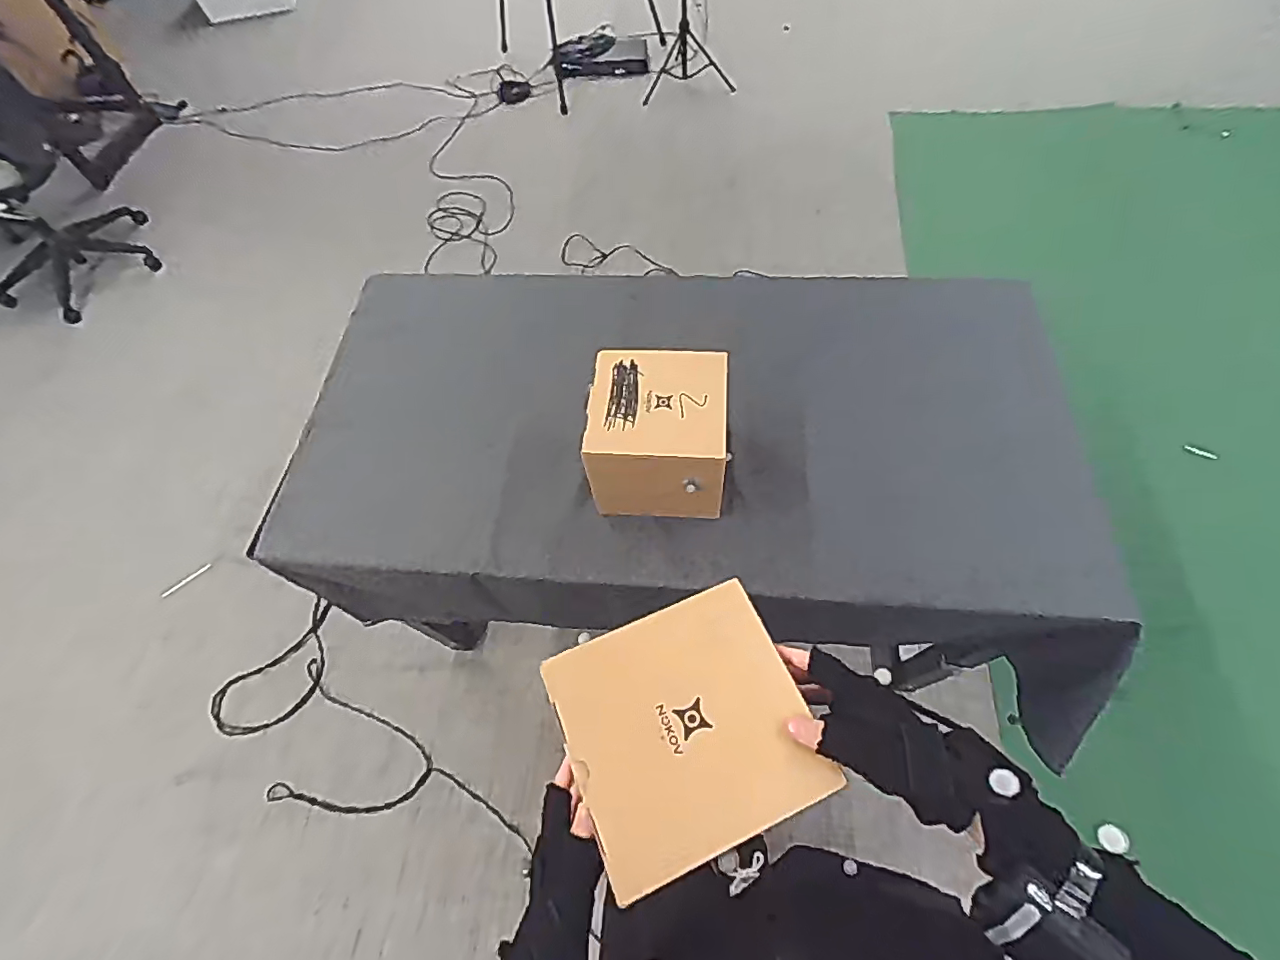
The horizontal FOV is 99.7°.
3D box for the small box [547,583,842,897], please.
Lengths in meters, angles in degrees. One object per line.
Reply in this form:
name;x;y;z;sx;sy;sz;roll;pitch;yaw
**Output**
small box;0.035;0.215;0.469;0.179;0.176;0.168;-20;62;-10
